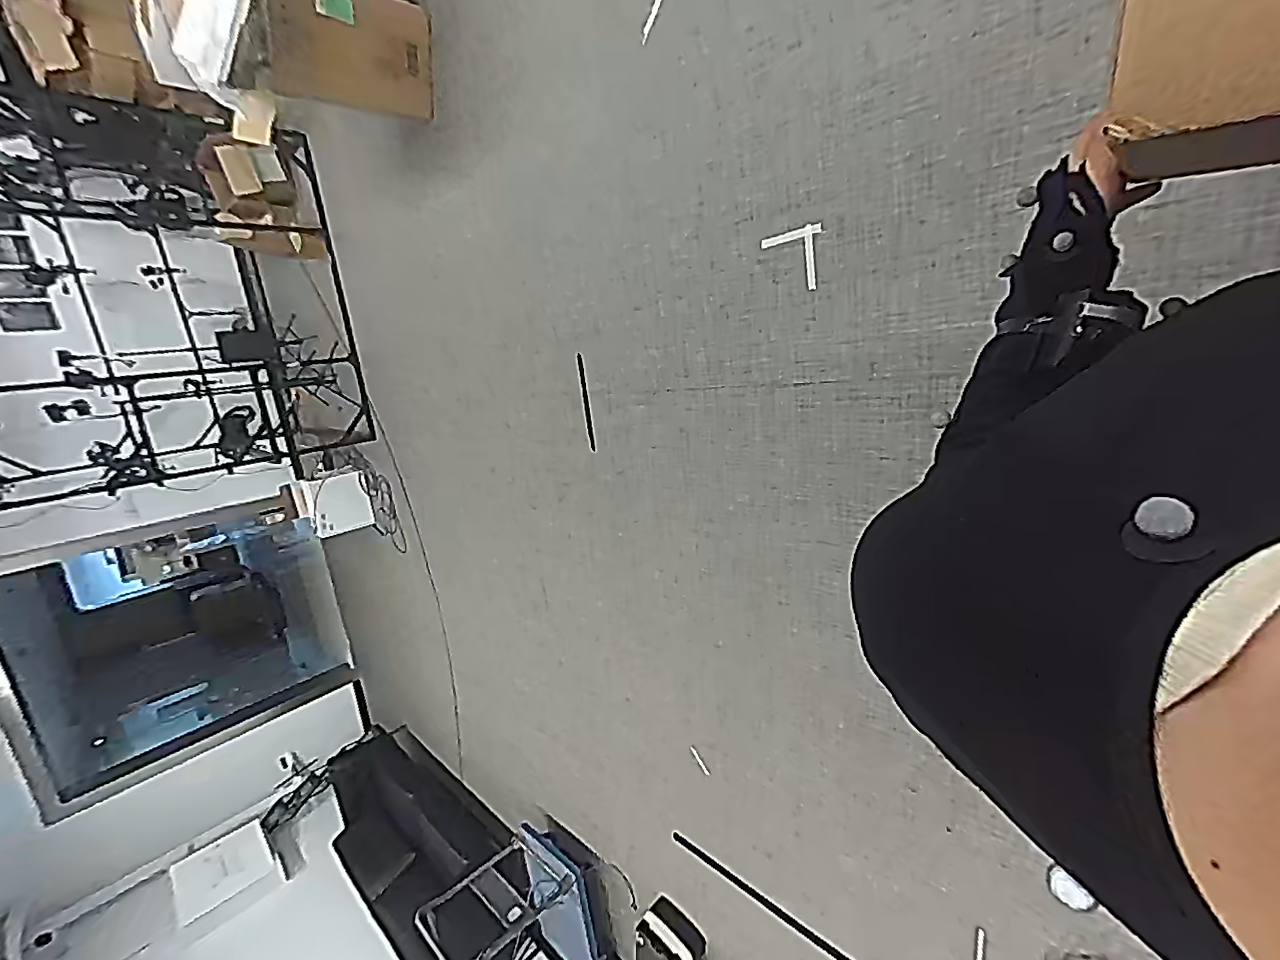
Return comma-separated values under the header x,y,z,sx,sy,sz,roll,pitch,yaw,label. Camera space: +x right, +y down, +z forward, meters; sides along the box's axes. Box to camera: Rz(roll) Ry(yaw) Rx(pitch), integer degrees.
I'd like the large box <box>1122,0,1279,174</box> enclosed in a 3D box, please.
x,y,z,sx,sy,sz,roll,pitch,yaw,label
0.434,-0.318,0.164,0.408,0.320,0.320,10,117,39,large box
